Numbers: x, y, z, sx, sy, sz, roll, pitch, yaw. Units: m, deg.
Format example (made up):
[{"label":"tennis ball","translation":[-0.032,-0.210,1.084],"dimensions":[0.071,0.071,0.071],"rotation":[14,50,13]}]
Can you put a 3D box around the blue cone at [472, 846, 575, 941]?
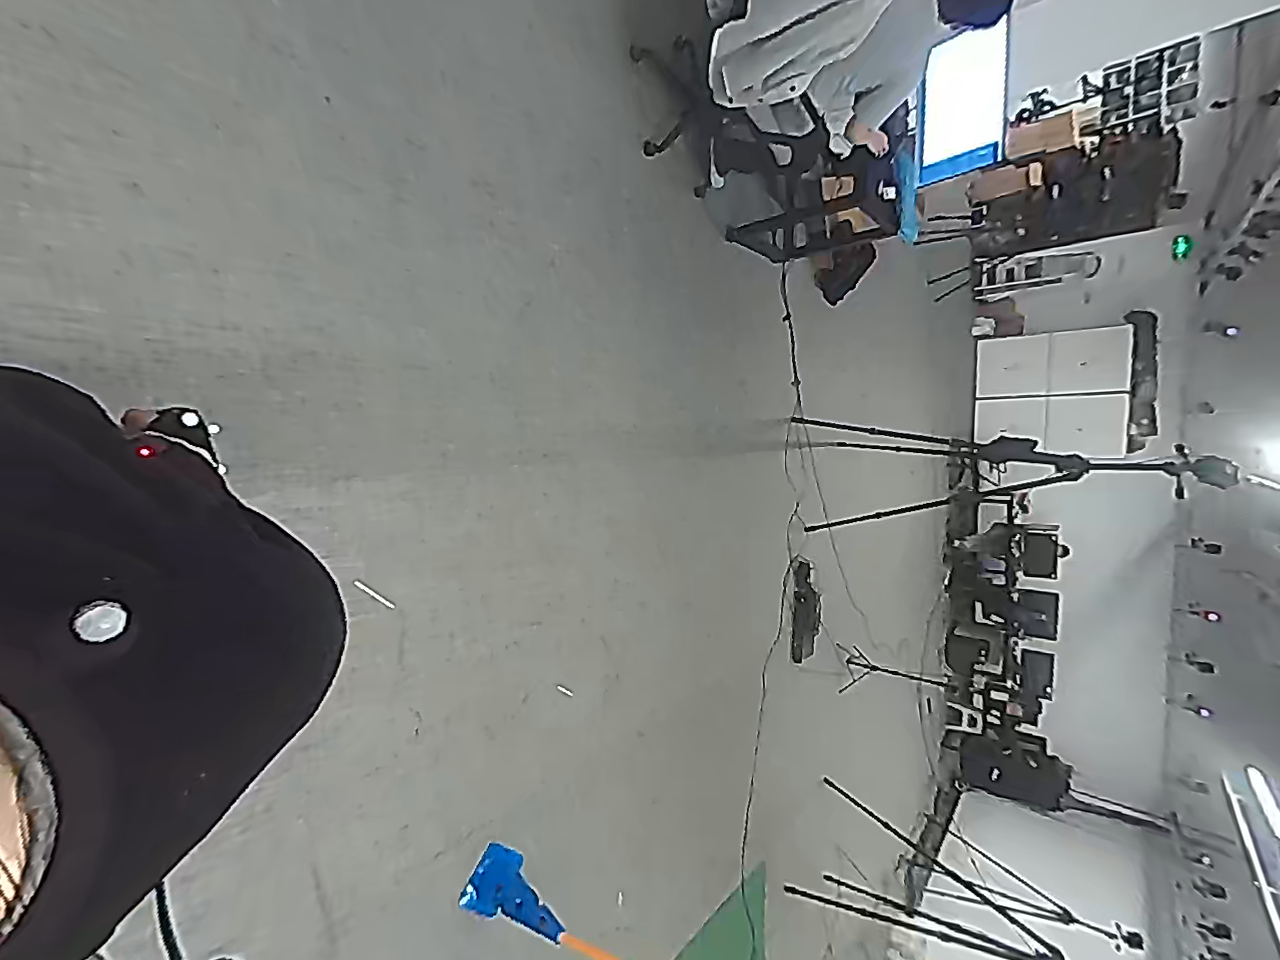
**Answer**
[{"label":"blue cone","translation":[-0.358,1.385,1.766],"dimensions":[0.192,0.380,0.193],"rotation":[55,52,-35]}]
